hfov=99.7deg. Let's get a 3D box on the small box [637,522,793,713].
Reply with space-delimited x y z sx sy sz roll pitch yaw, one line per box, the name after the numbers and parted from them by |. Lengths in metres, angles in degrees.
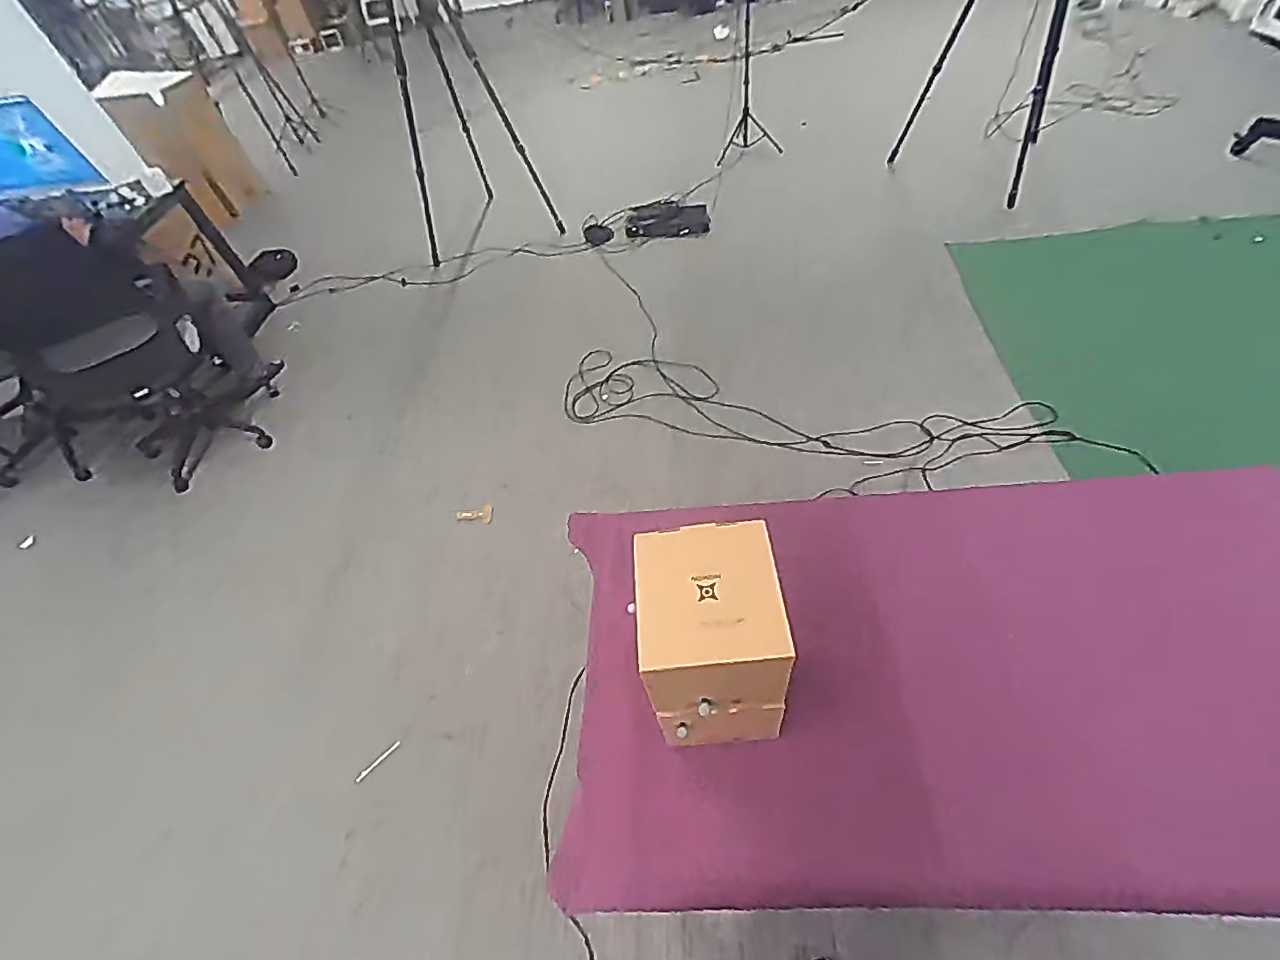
0.086 0.175 0.679 0.168 0.176 0.179 -6 51 5 | small box
